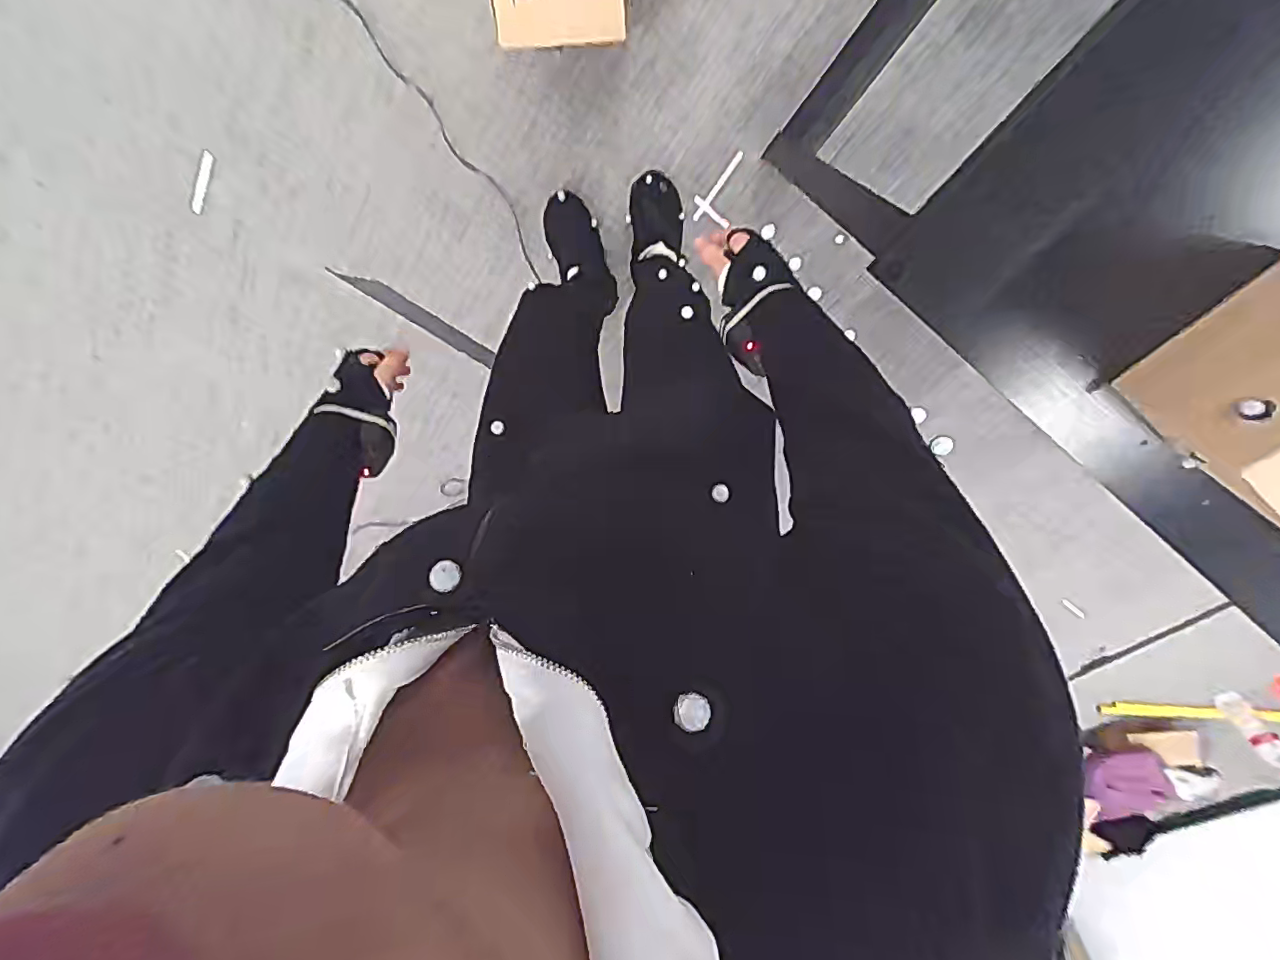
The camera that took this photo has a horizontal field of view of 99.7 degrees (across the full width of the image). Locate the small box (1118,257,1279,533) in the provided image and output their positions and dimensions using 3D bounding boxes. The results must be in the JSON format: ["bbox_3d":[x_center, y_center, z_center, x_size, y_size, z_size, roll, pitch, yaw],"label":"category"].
[{"bbox_3d":[0.640,-0.085,0.541,0.168,0.176,0.179,29,122,-22],"label":"small box"}]

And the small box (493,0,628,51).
[{"bbox_3d":[-0.110,-0.712,0.758,0.179,0.176,0.168,-3,129,2],"label":"small box"}]
